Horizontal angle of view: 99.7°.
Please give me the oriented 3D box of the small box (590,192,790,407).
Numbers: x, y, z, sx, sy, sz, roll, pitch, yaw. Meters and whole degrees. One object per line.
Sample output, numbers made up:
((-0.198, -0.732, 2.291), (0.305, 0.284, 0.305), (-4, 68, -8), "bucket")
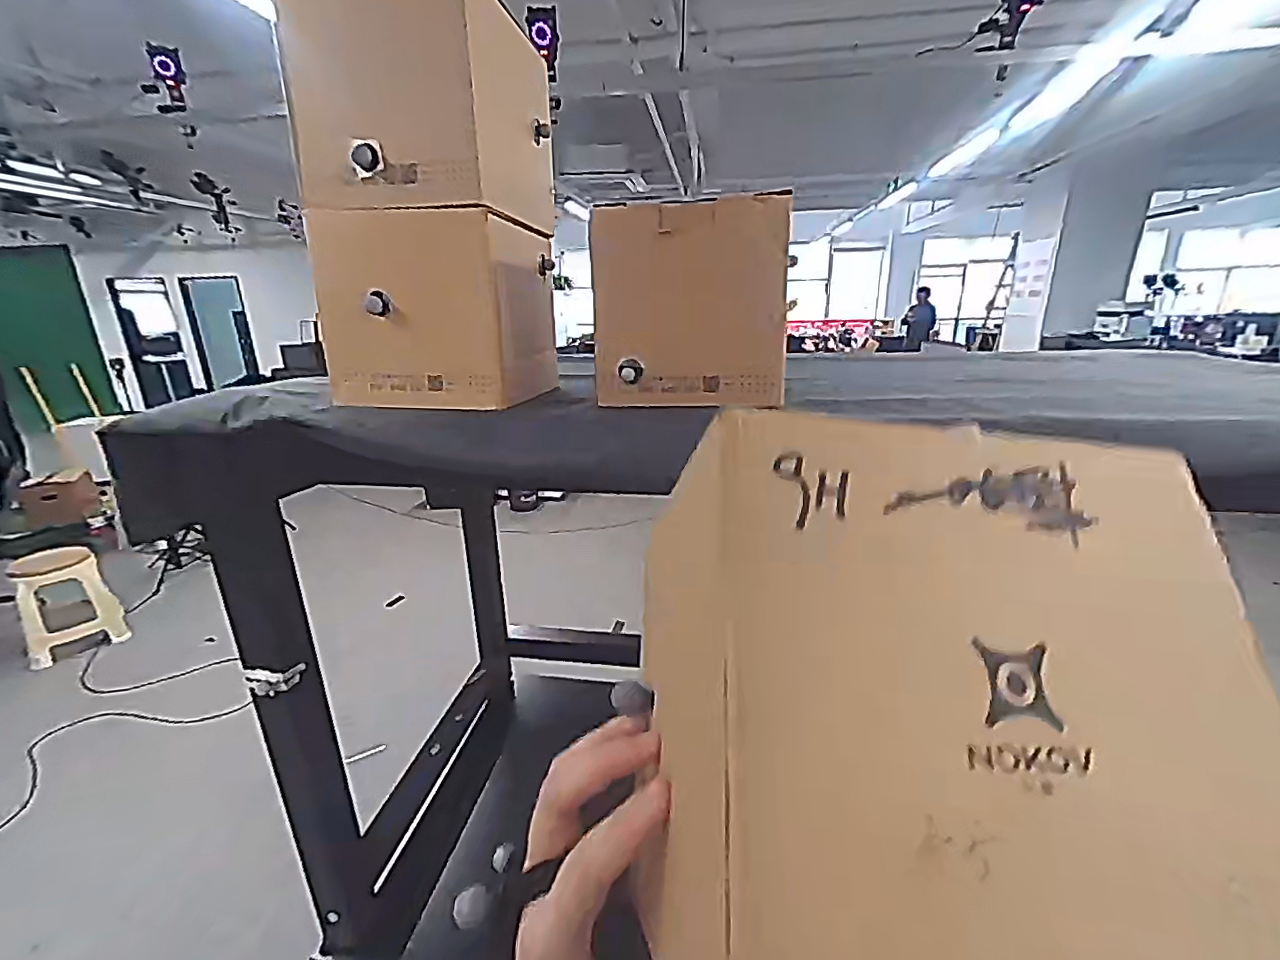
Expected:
((0.056, -0.164, 0.530), (0.168, 0.176, 0.179), (2, 15, 10), "small box")

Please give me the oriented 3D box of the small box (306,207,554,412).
((-0.188, -0.163, 0.543), (0.168, 0.176, 0.179), (3, 16, 8), "small box")

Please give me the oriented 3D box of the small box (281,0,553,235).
((-0.184, -0.319, 0.498), (0.168, 0.176, 0.179), (1, 17, 10), "small box")

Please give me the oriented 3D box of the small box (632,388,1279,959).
((0.090, 0.086, 0.222), (0.168, 0.179, 0.176), (5, -20, -7), "small box")
